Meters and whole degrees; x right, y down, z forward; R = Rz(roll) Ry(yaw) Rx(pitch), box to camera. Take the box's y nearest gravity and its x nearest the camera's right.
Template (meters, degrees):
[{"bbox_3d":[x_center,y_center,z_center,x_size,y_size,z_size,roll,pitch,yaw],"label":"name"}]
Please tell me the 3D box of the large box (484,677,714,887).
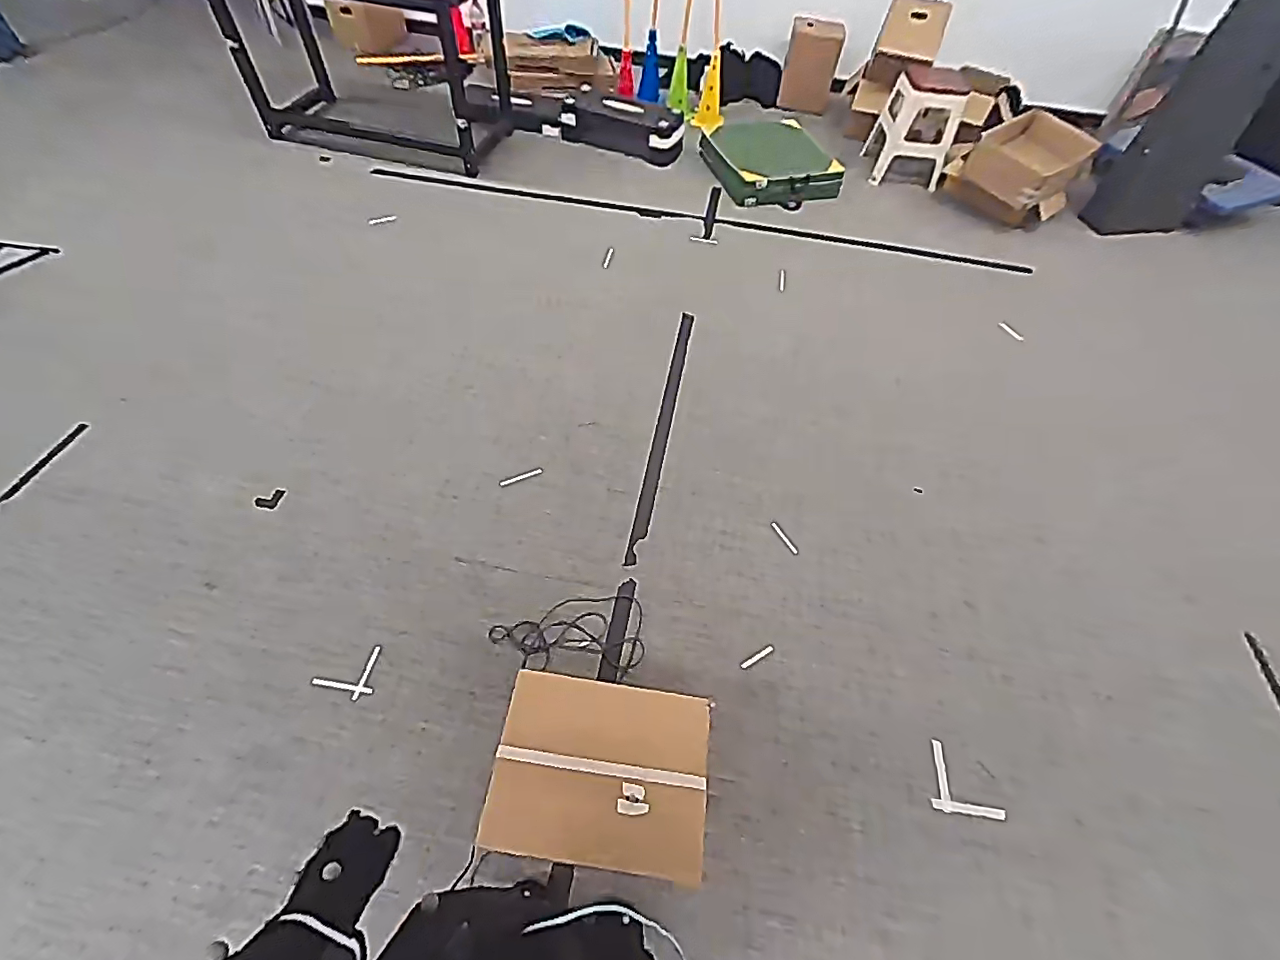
[{"bbox_3d":[-0.076,0.647,1.155,0.408,0.320,0.320,10,55,1],"label":"large box"}]
